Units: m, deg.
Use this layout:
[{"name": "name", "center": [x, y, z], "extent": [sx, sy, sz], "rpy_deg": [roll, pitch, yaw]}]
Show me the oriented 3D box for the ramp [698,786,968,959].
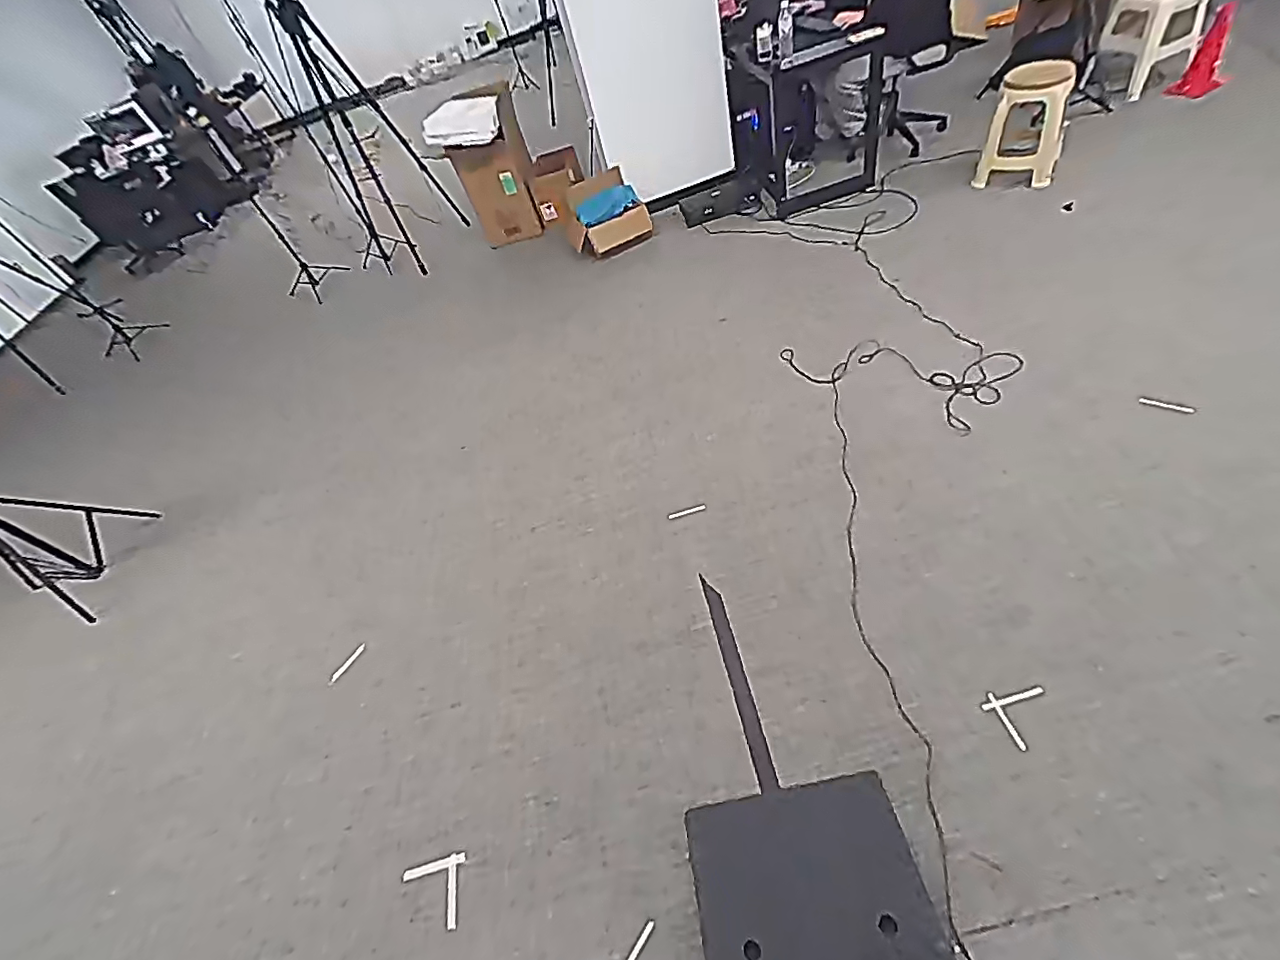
[{"name": "ramp", "center": [0.423, 1.102, 0.935], "extent": [0.509, 0.206, 0.991], "rpy_deg": [-19, 45, 4]}]
